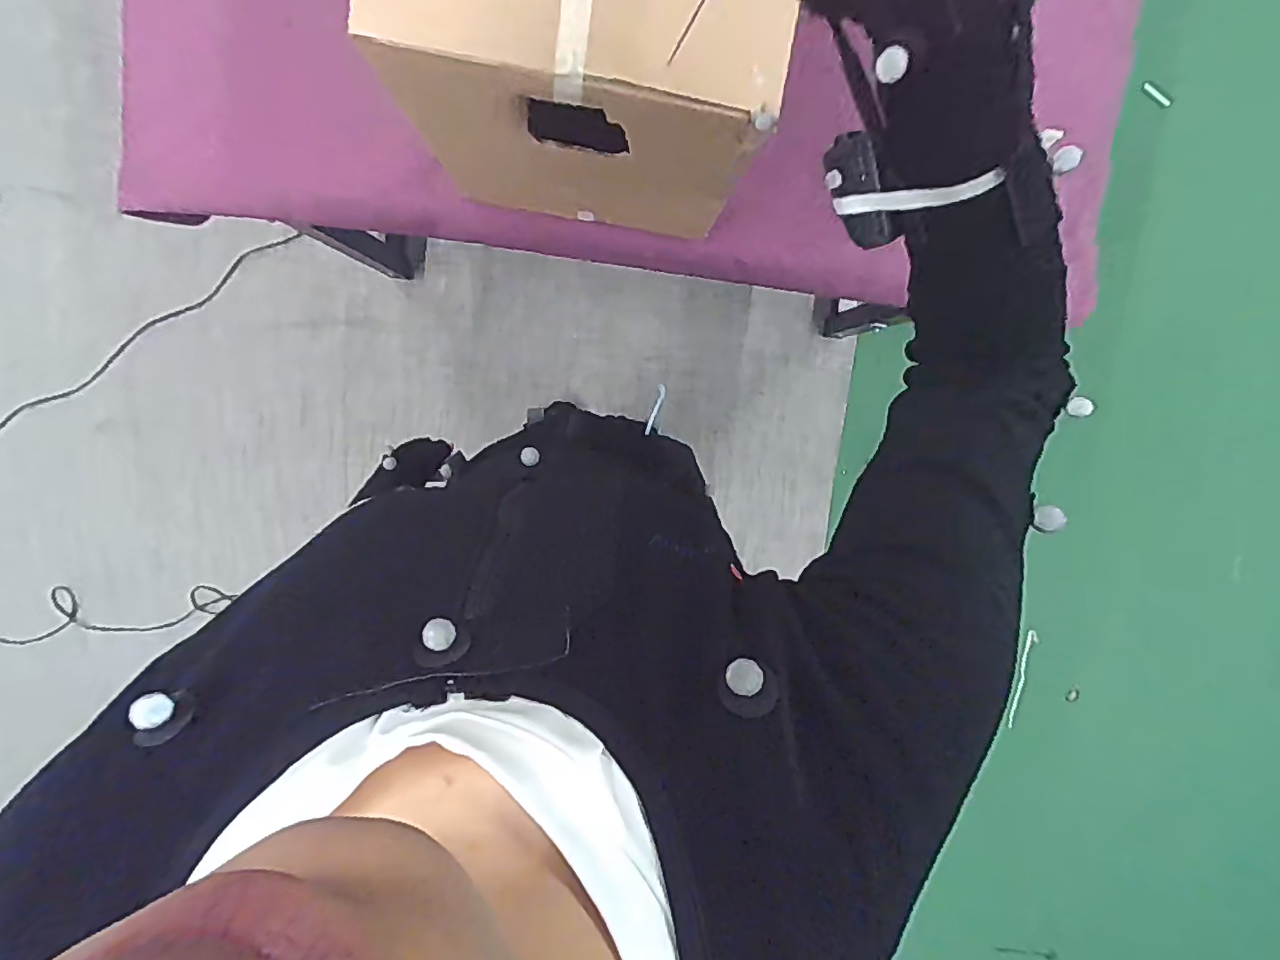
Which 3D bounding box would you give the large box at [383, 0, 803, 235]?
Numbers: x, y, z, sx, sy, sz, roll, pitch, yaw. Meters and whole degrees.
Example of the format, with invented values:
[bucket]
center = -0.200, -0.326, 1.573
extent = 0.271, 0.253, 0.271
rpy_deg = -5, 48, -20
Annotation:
[large box]
center = -0.020, -0.513, 0.527
extent = 0.320, 0.320, 0.408
rpy_deg = 9, 99, -4
